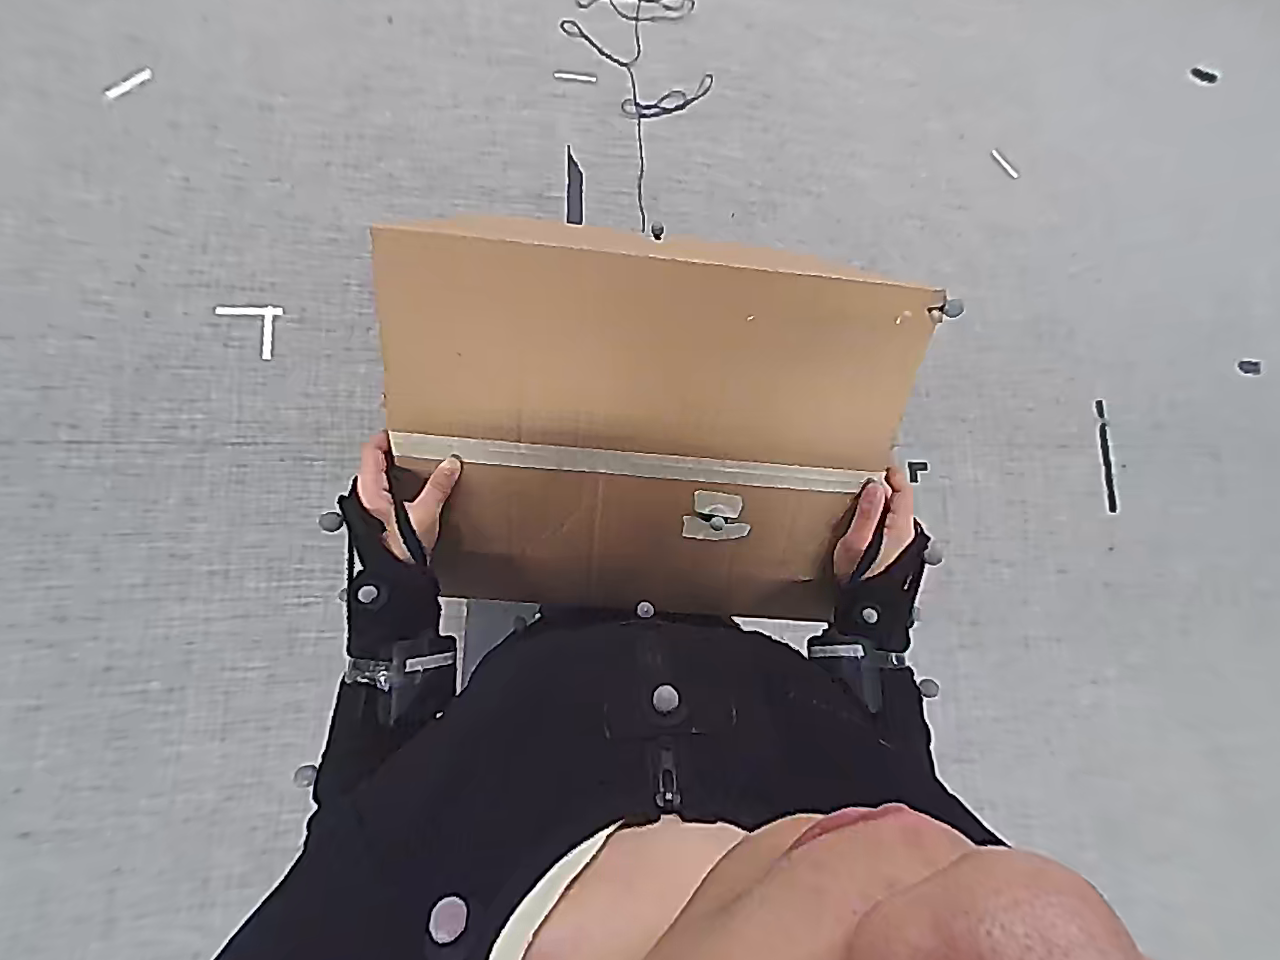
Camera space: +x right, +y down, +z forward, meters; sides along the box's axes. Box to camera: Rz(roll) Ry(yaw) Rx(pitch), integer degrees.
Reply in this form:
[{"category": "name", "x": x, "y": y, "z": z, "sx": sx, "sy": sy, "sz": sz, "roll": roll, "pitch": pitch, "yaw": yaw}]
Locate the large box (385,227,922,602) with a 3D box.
[{"category": "large box", "x": -0.003, "y": -0.090, "z": 0.591, "sx": 0.408, "sy": 0.320, "sz": 0.320, "roll": 4, "pitch": 118, "yaw": -5}]
